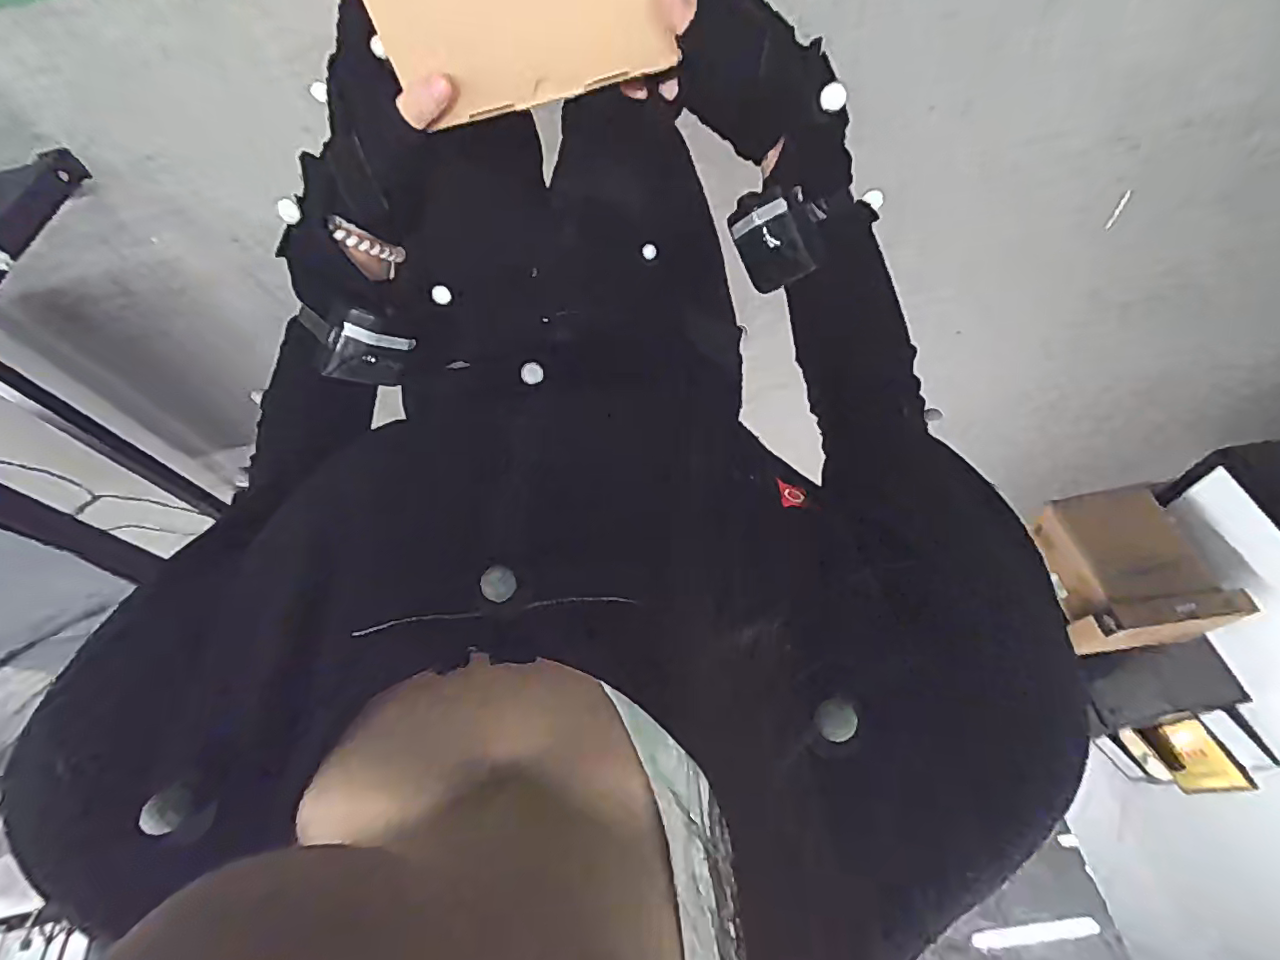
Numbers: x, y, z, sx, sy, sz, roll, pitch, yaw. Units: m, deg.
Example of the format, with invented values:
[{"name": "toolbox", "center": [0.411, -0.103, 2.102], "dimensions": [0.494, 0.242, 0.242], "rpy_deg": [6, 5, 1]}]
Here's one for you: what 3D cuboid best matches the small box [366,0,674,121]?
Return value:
[{"name": "small box", "center": [-0.085, -0.351, 0.312], "dimensions": [0.168, 0.176, 0.179], "rpy_deg": [-13, 143, 2]}]
